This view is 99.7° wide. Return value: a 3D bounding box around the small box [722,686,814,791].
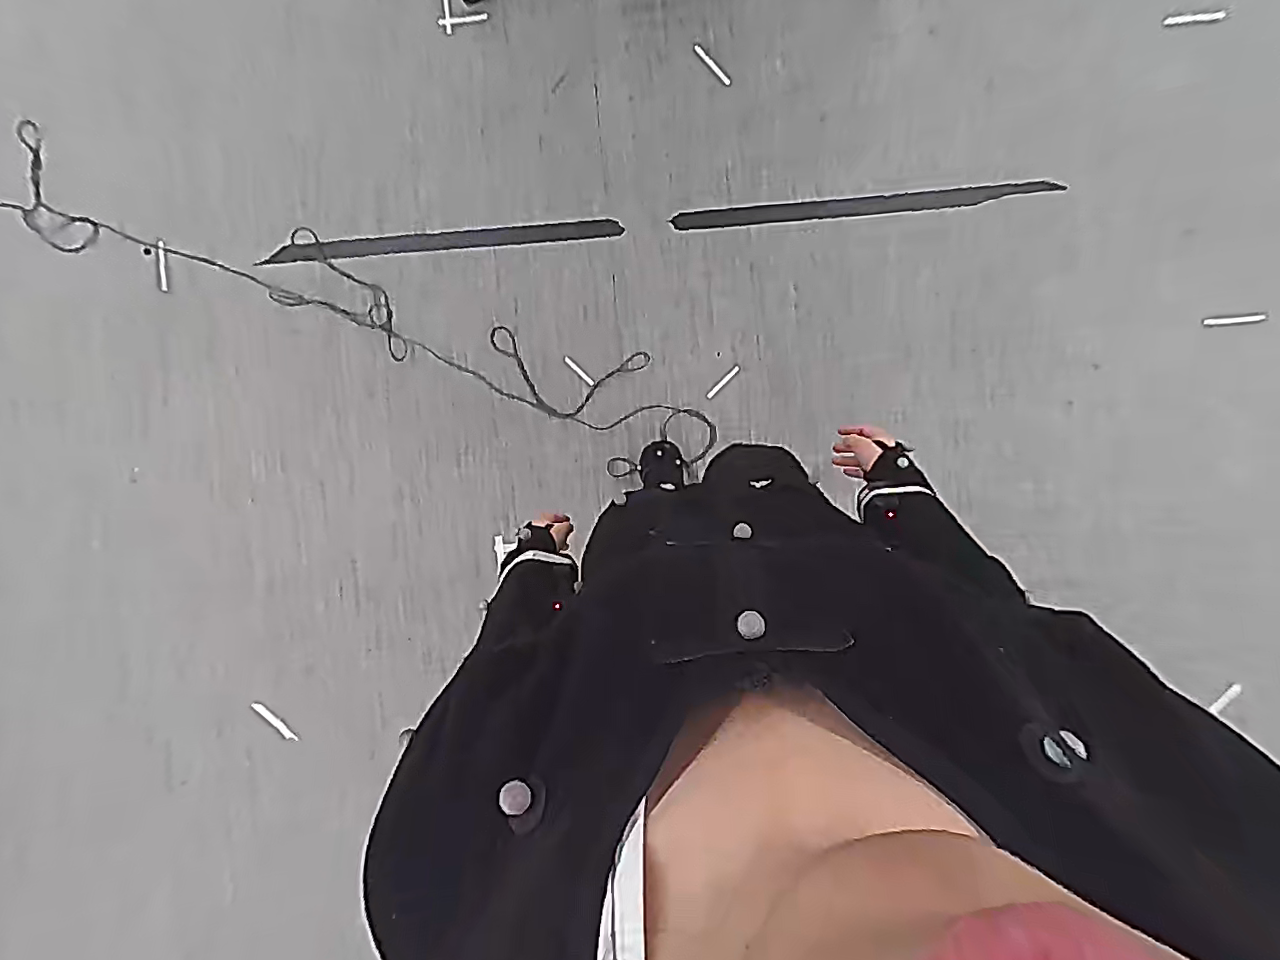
[{"bbox_3d":[0.321,0.651,1.392,0.168,0.176,0.179,-18,89,1],"label":"small box"}]
